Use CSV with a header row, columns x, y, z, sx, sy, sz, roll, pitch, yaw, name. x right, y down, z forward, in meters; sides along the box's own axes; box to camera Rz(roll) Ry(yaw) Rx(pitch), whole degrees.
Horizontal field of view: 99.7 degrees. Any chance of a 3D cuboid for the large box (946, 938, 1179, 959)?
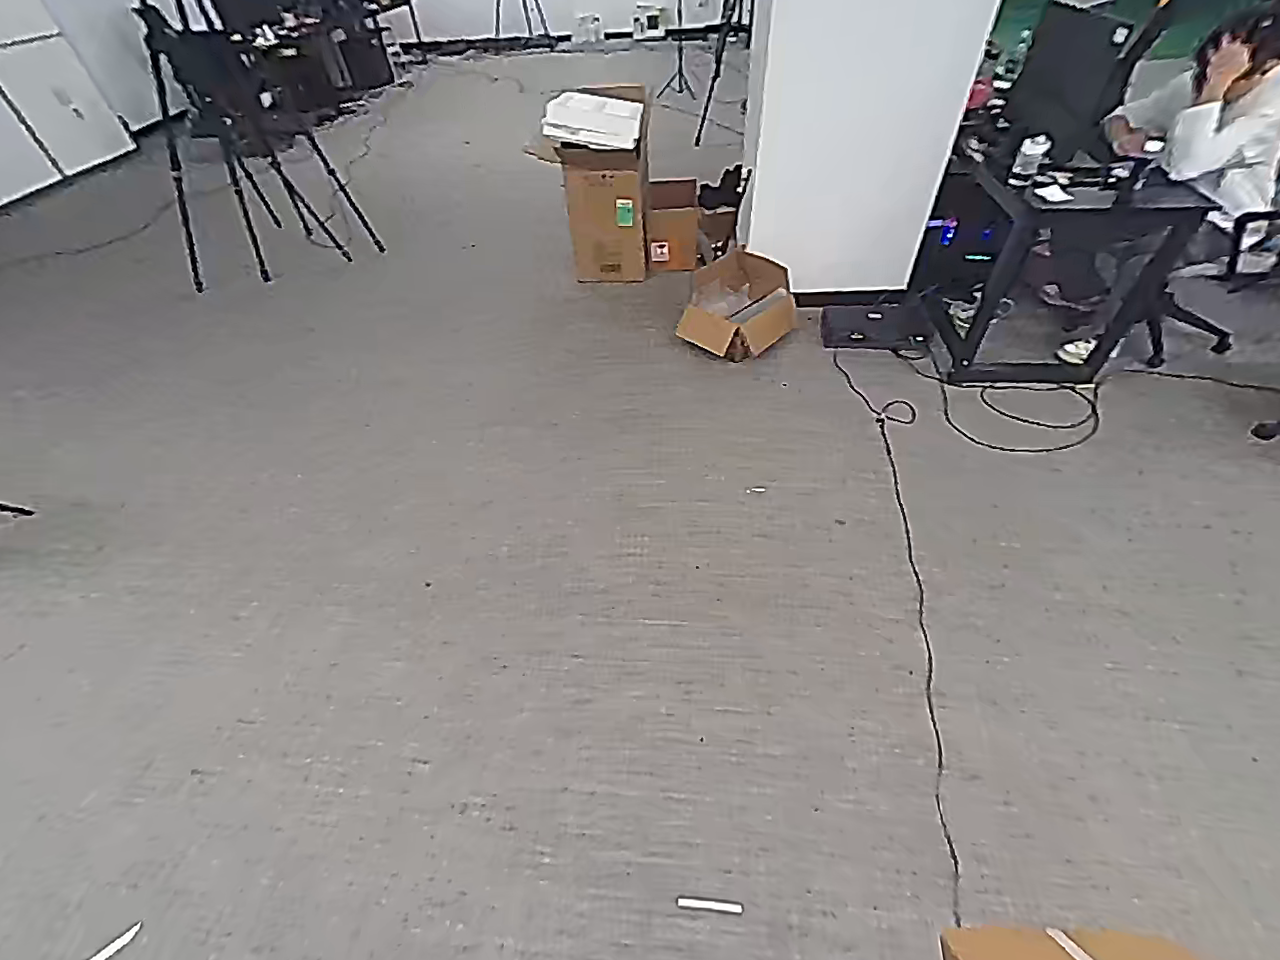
x,y,z,sx,sy,sz,roll,pitch,yaw,name
0.580,0.772,0.553,0.320,0.408,0.320,-2,78,4,large box
